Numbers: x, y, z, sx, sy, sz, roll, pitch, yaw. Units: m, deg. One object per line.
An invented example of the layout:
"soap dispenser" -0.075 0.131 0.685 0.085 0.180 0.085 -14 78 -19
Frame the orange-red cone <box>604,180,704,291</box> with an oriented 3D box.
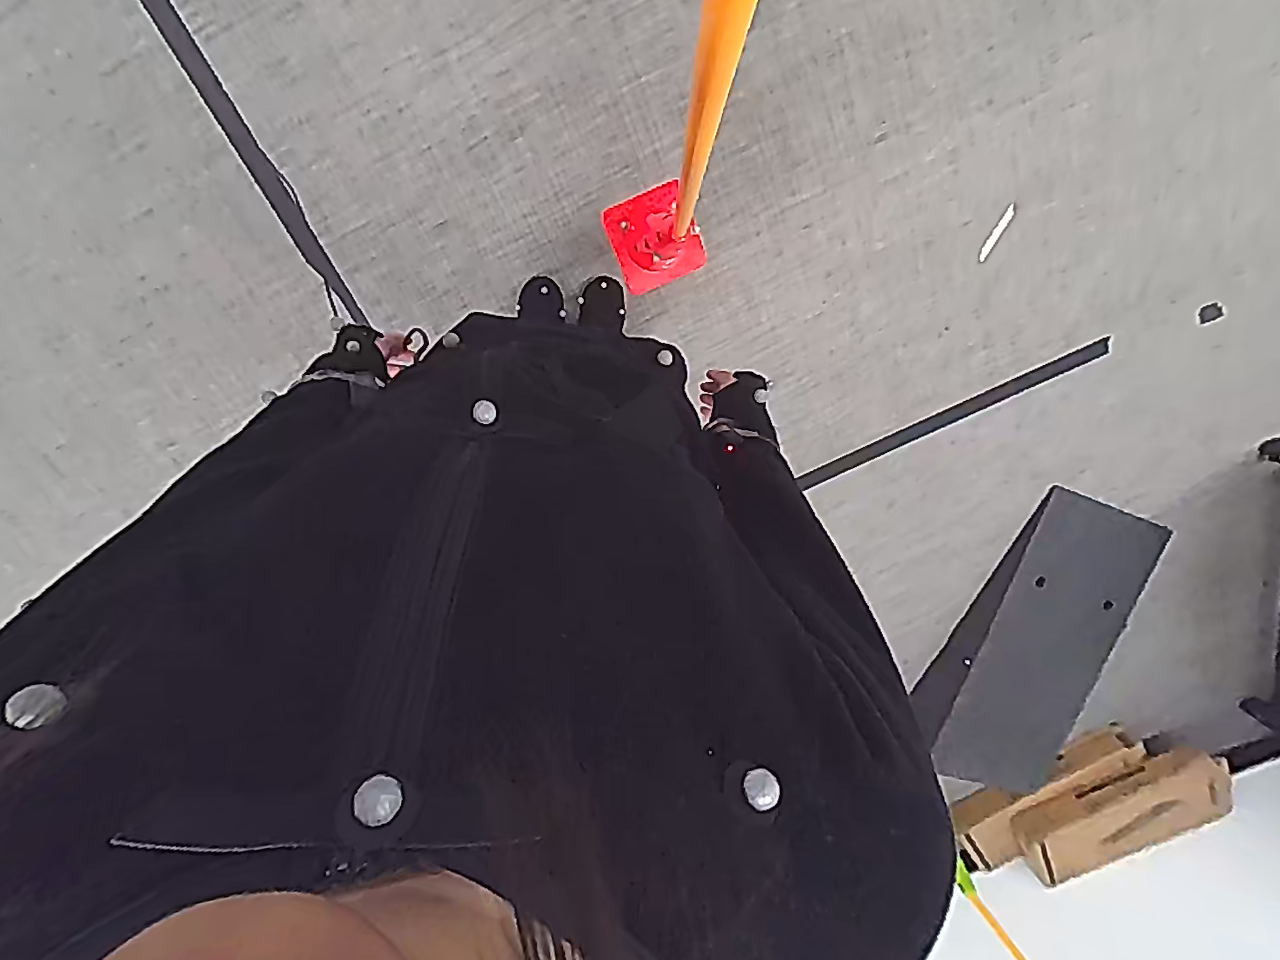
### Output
"orange-red cone" 0.051 -0.495 1.088 0.198 0.360 0.199 -21 113 3
